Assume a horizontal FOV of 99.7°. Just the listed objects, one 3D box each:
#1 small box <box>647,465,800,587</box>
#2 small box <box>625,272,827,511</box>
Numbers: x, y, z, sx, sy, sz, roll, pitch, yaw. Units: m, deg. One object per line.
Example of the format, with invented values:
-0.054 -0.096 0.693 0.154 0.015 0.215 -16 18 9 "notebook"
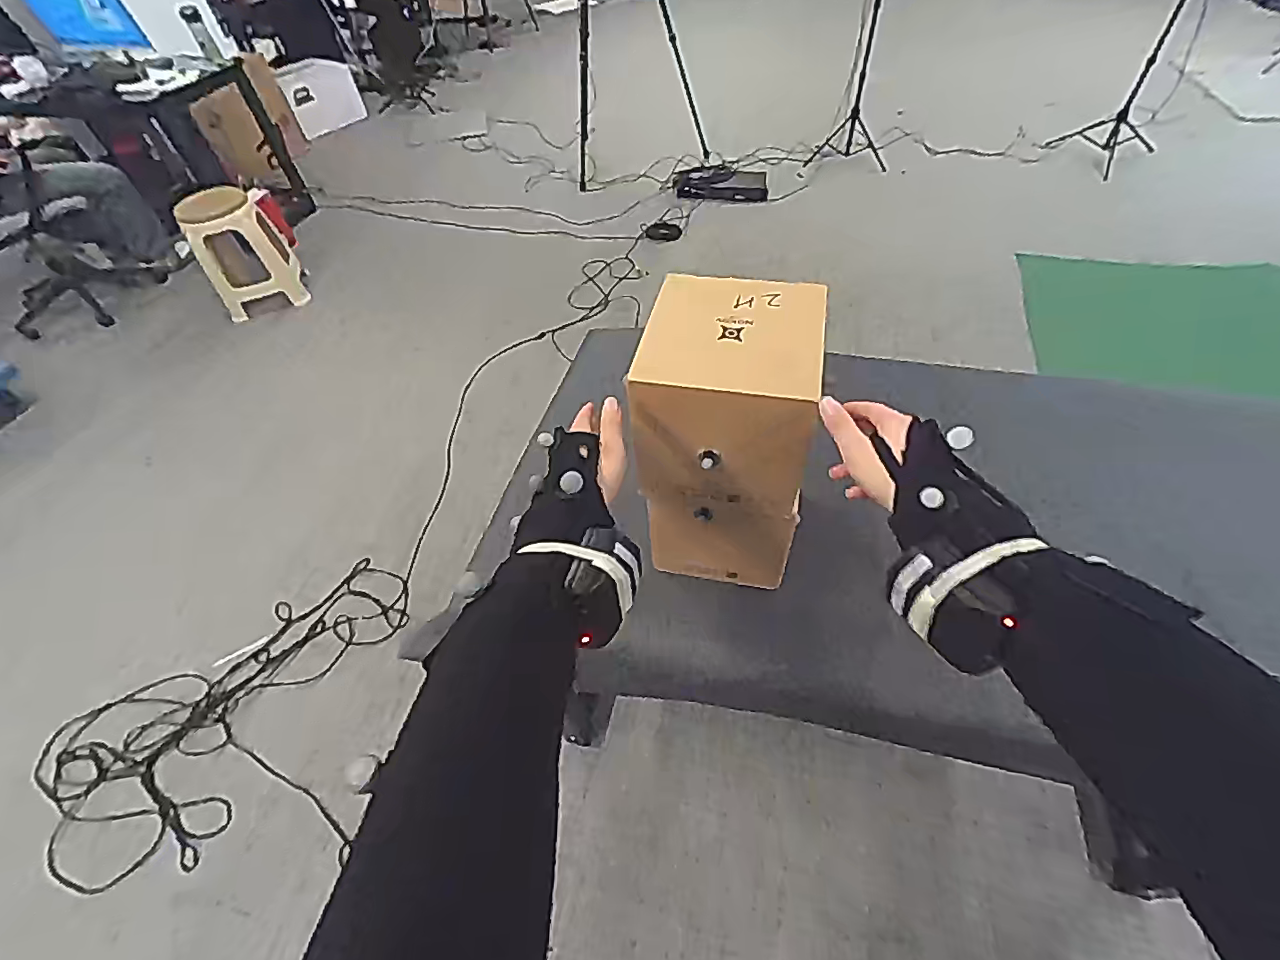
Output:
0.108 0.010 0.695 0.168 0.176 0.179 8 51 11 "small box"
0.091 -0.090 0.564 0.168 0.176 0.179 9 52 11 "small box"
